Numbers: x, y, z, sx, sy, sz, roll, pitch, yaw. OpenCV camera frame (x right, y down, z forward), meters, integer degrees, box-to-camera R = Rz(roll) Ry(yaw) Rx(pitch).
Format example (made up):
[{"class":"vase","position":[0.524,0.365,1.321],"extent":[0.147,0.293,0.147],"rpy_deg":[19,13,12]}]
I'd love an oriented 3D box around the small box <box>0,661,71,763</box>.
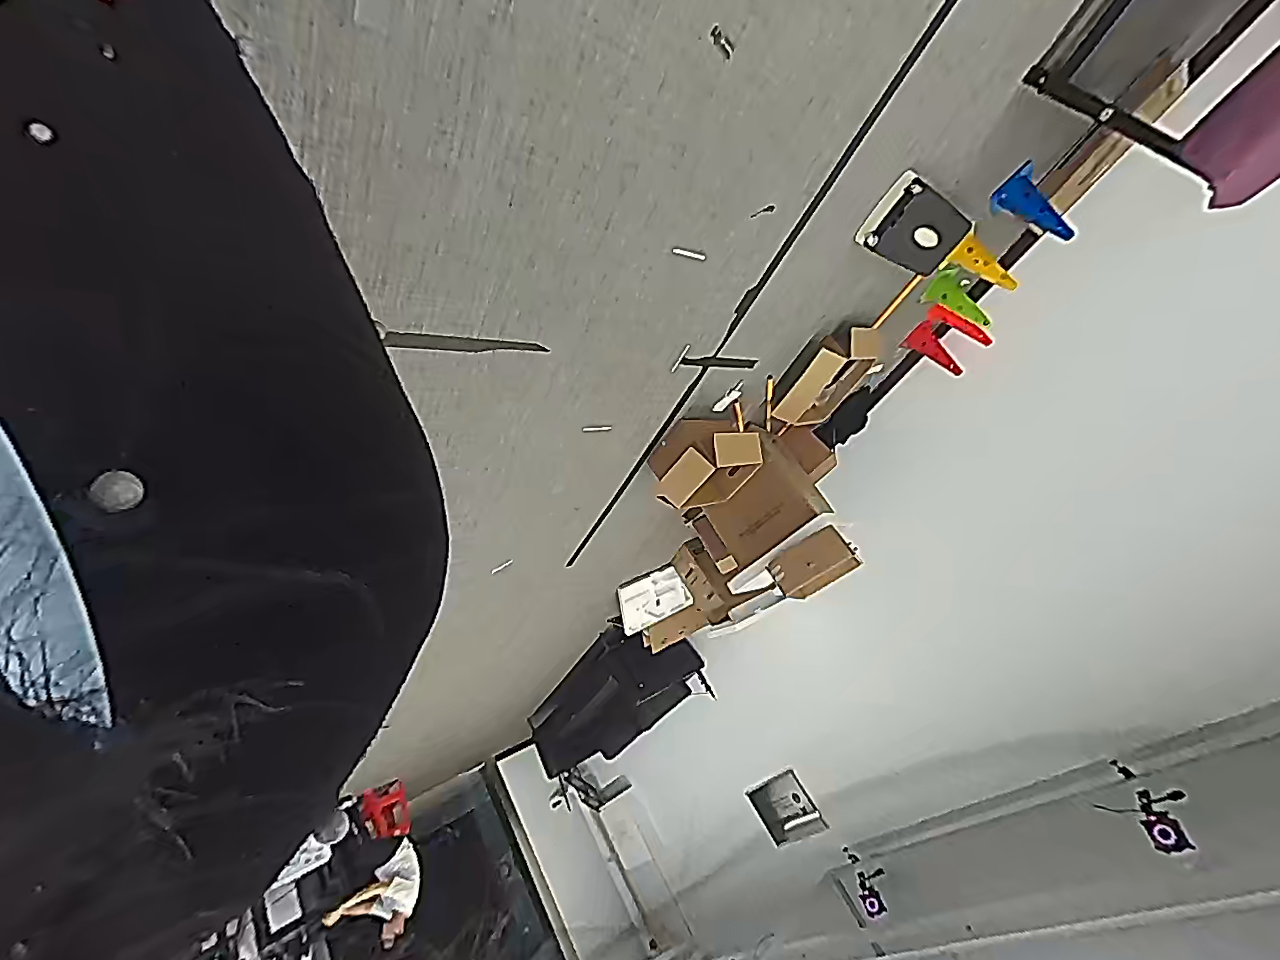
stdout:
[{"class":"small box","position":[-1.578,0.592,1.378],"extent":[0.168,0.176,0.179],"rpy_deg":[-6,143,-48]}]
